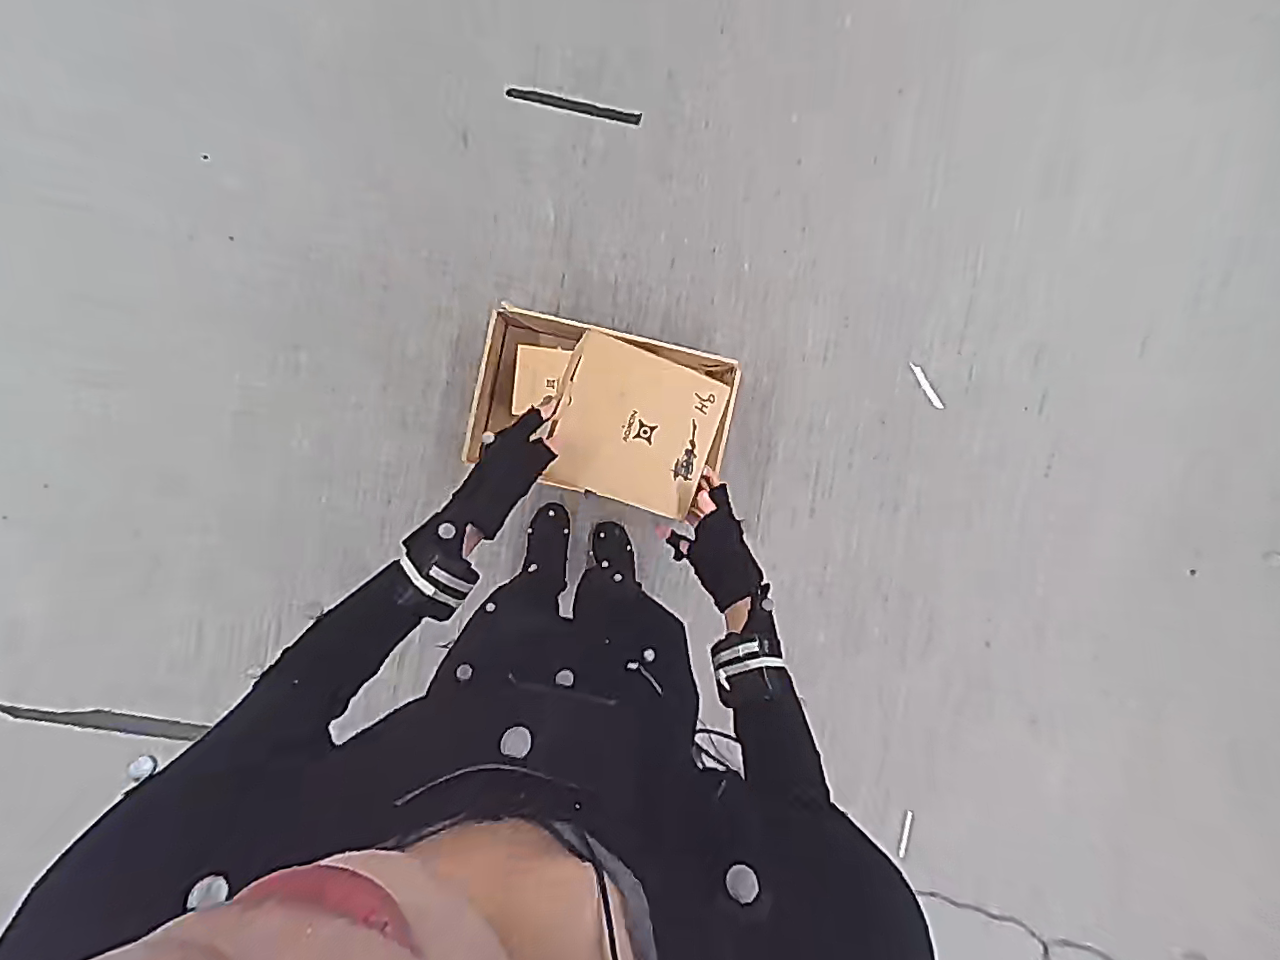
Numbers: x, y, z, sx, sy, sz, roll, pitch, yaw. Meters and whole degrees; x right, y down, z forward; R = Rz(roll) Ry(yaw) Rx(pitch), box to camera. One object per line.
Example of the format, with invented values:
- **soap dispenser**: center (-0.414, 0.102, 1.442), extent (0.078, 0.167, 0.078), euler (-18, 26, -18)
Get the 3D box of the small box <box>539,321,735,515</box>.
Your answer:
- **small box**: center (-0.017, -0.068, 0.660), extent (0.179, 0.176, 0.168), euler (20, 89, -13)
